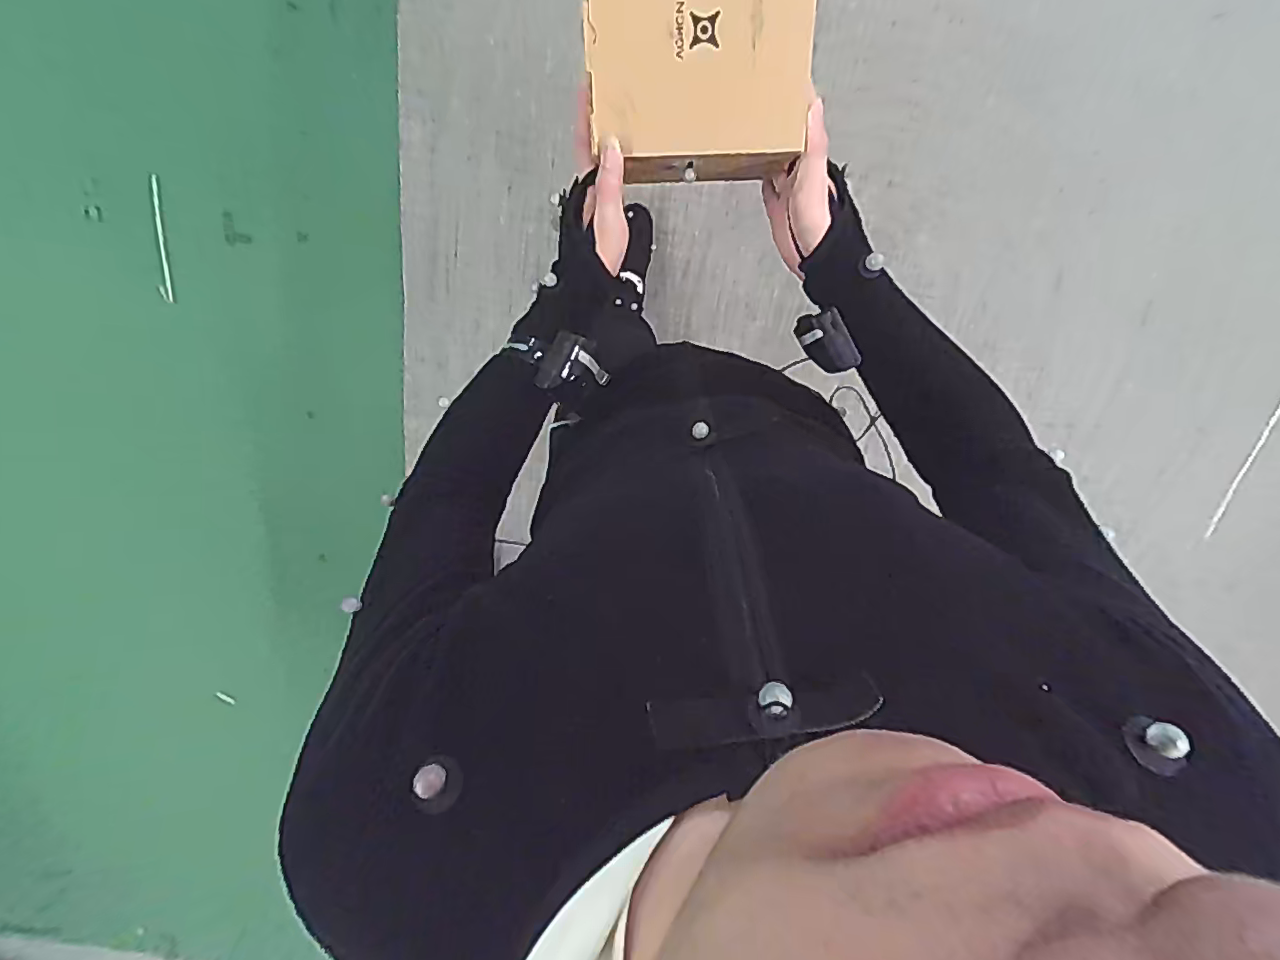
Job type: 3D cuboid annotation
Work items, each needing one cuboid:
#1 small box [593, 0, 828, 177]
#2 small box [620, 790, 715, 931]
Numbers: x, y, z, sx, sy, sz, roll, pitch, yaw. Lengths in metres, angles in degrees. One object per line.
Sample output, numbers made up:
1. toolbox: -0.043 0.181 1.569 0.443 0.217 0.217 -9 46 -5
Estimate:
1. small box: 0.055 -0.372 0.478 0.179 0.176 0.168 0 112 2
2. small box: 0.051 0.766 1.102 0.168 0.176 0.179 6 112 -1
